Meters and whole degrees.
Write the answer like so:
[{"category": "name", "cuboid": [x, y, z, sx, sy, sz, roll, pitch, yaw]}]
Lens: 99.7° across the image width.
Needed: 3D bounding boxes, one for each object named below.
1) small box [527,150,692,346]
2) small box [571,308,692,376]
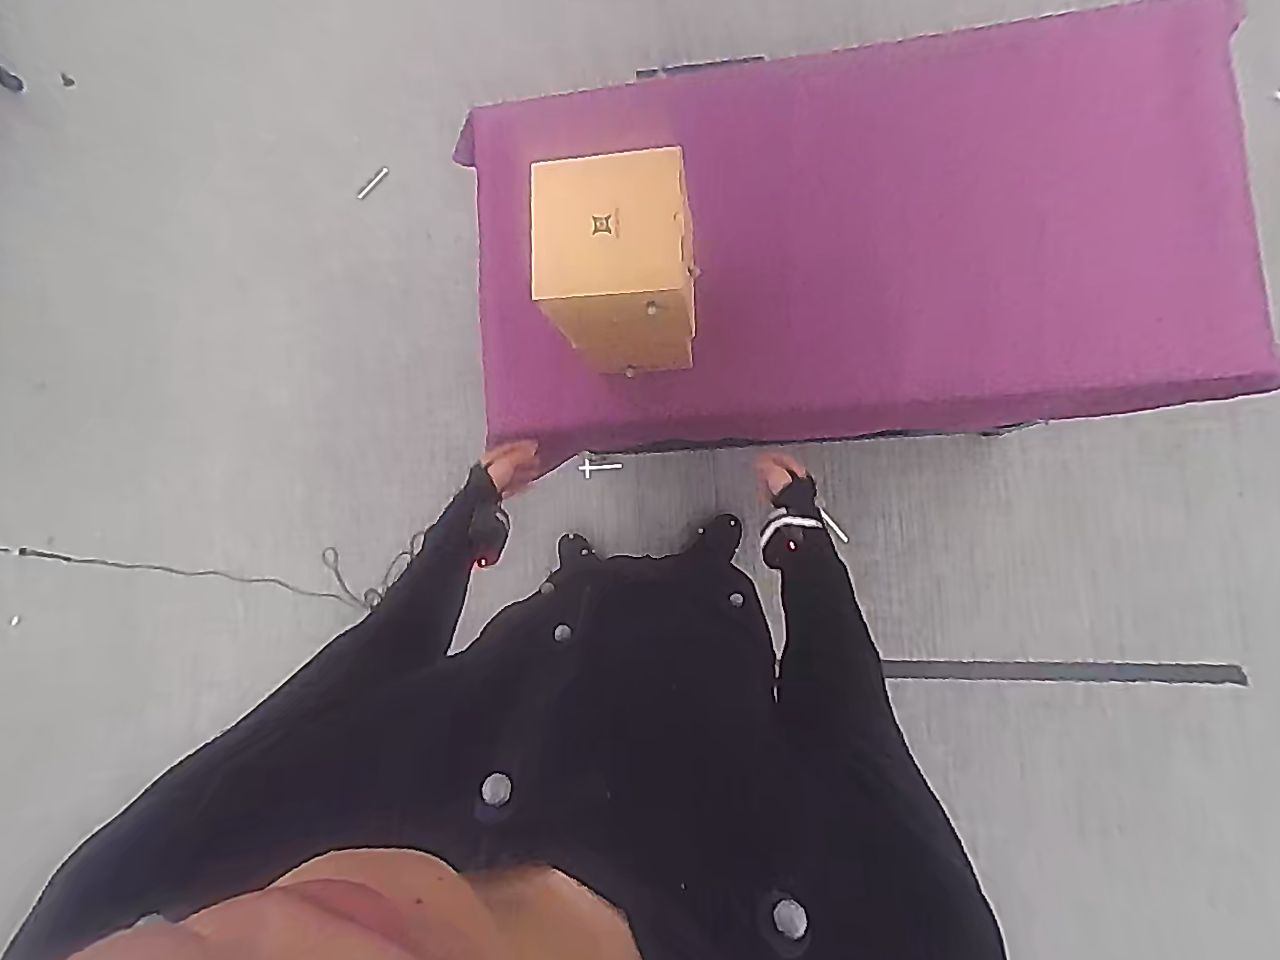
[{"category": "small box", "cuboid": [-0.029, -0.274, 0.679, 0.179, 0.176, 0.168, -1, 87, 9]}, {"category": "small box", "cuboid": [-0.008, -0.271, 0.840, 0.168, 0.176, 0.179, -2, 87, 9]}]
